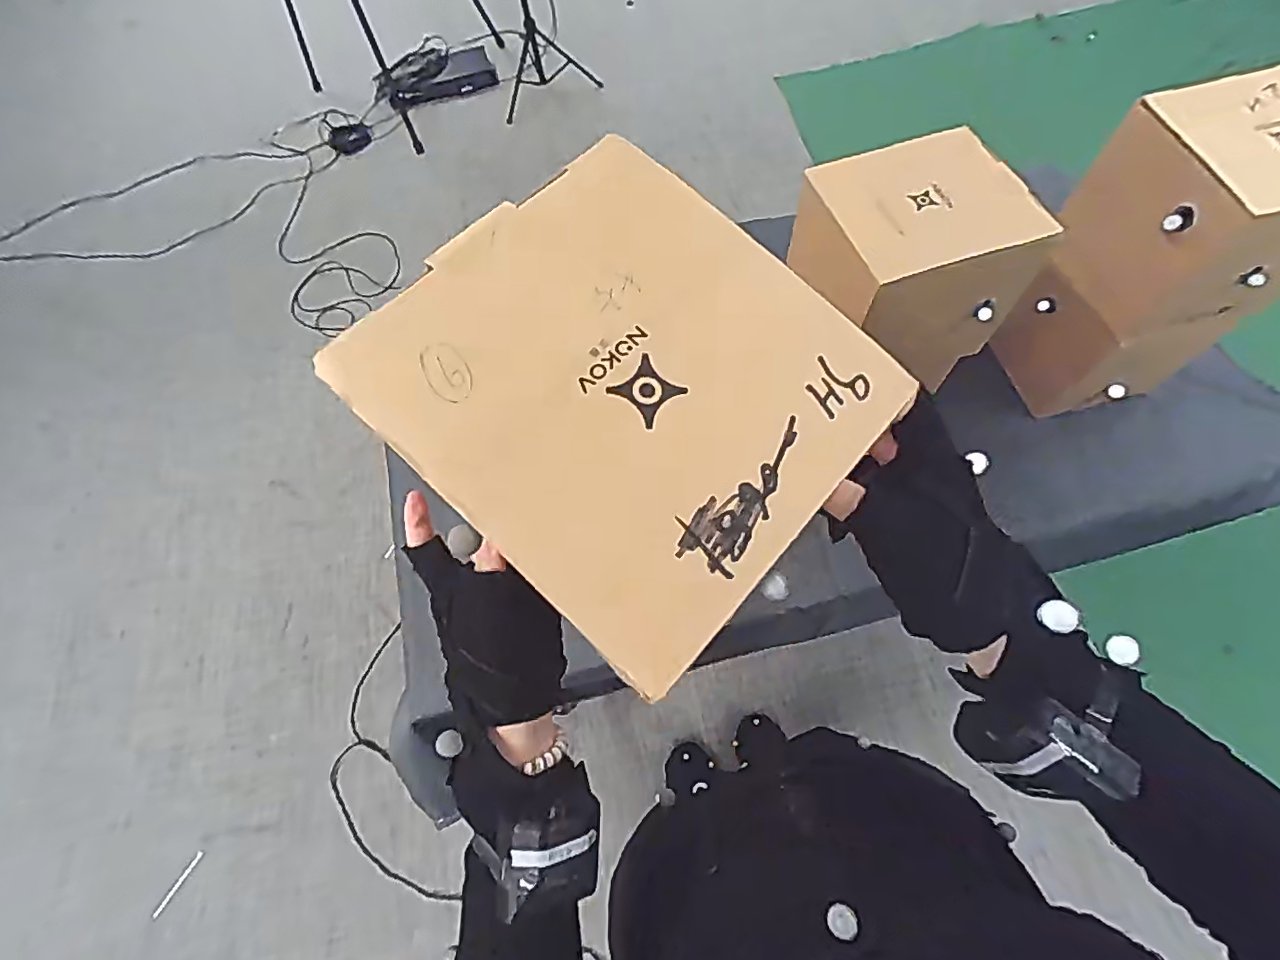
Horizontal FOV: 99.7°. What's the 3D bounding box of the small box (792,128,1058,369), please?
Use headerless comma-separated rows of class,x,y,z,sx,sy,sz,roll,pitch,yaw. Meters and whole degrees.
small box,0.275,-0.228,0.579,0.179,0.176,0.168,-16,64,-2

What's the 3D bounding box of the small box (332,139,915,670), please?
small box,-0.010,-0.022,0.290,0.179,0.176,0.168,43,74,7

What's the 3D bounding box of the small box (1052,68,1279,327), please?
small box,0.591,-0.283,0.571,0.168,0.176,0.179,-12,65,0
